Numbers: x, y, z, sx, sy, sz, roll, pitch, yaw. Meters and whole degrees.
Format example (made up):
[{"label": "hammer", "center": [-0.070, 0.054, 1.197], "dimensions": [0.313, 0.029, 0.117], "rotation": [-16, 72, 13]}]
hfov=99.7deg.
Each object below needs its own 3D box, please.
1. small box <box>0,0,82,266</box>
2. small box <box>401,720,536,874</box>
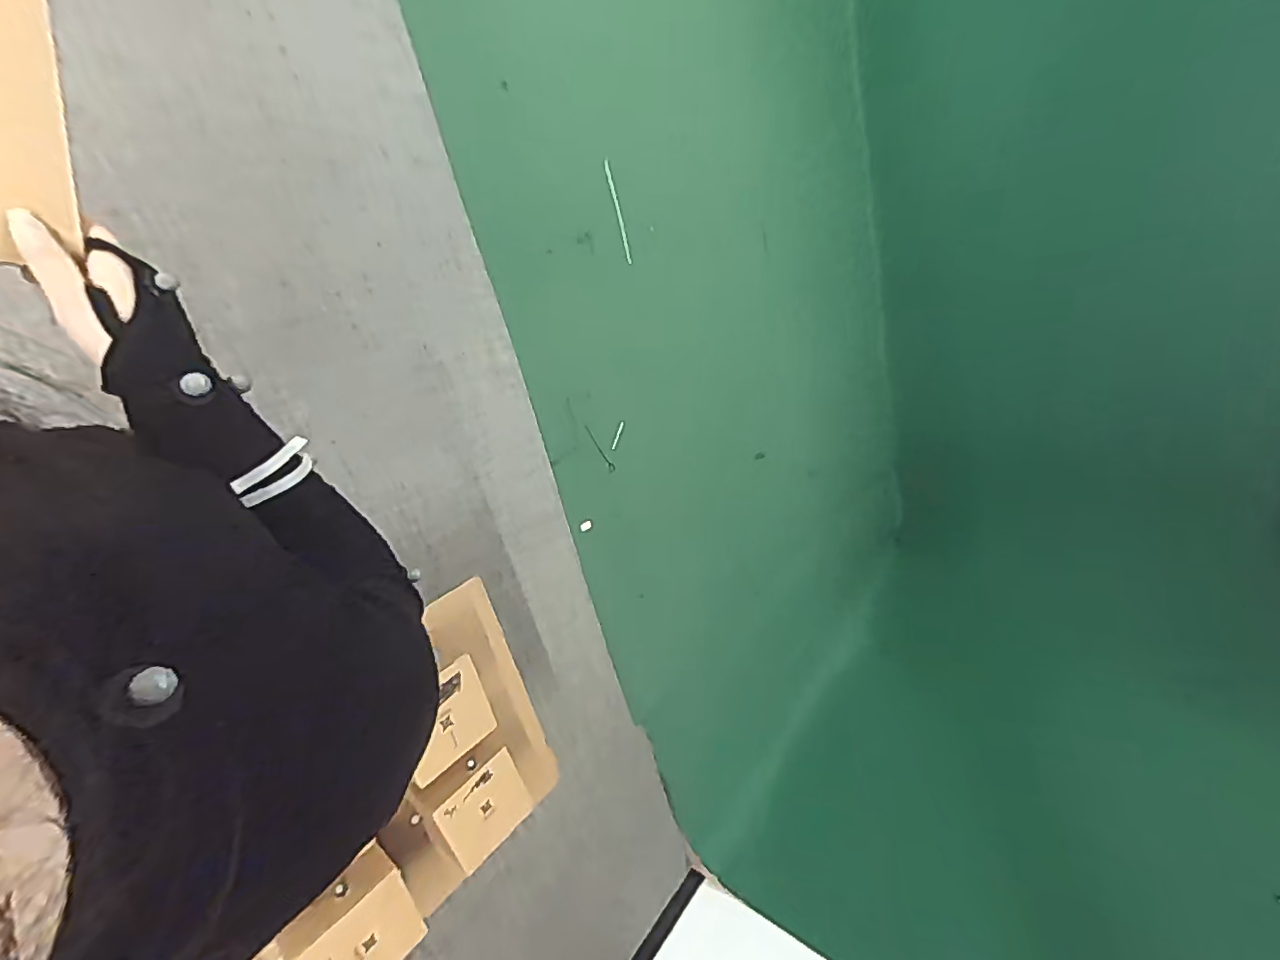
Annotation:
[{"label": "small box", "center": [-0.461, -0.220, 0.303], "dimensions": [0.179, 0.176, 0.168], "rotation": [-14, 115, -52]}, {"label": "small box", "center": [-0.344, 0.624, 1.087], "dimensions": [0.168, 0.176, 0.179], "rotation": [-34, 118, -40]}]
